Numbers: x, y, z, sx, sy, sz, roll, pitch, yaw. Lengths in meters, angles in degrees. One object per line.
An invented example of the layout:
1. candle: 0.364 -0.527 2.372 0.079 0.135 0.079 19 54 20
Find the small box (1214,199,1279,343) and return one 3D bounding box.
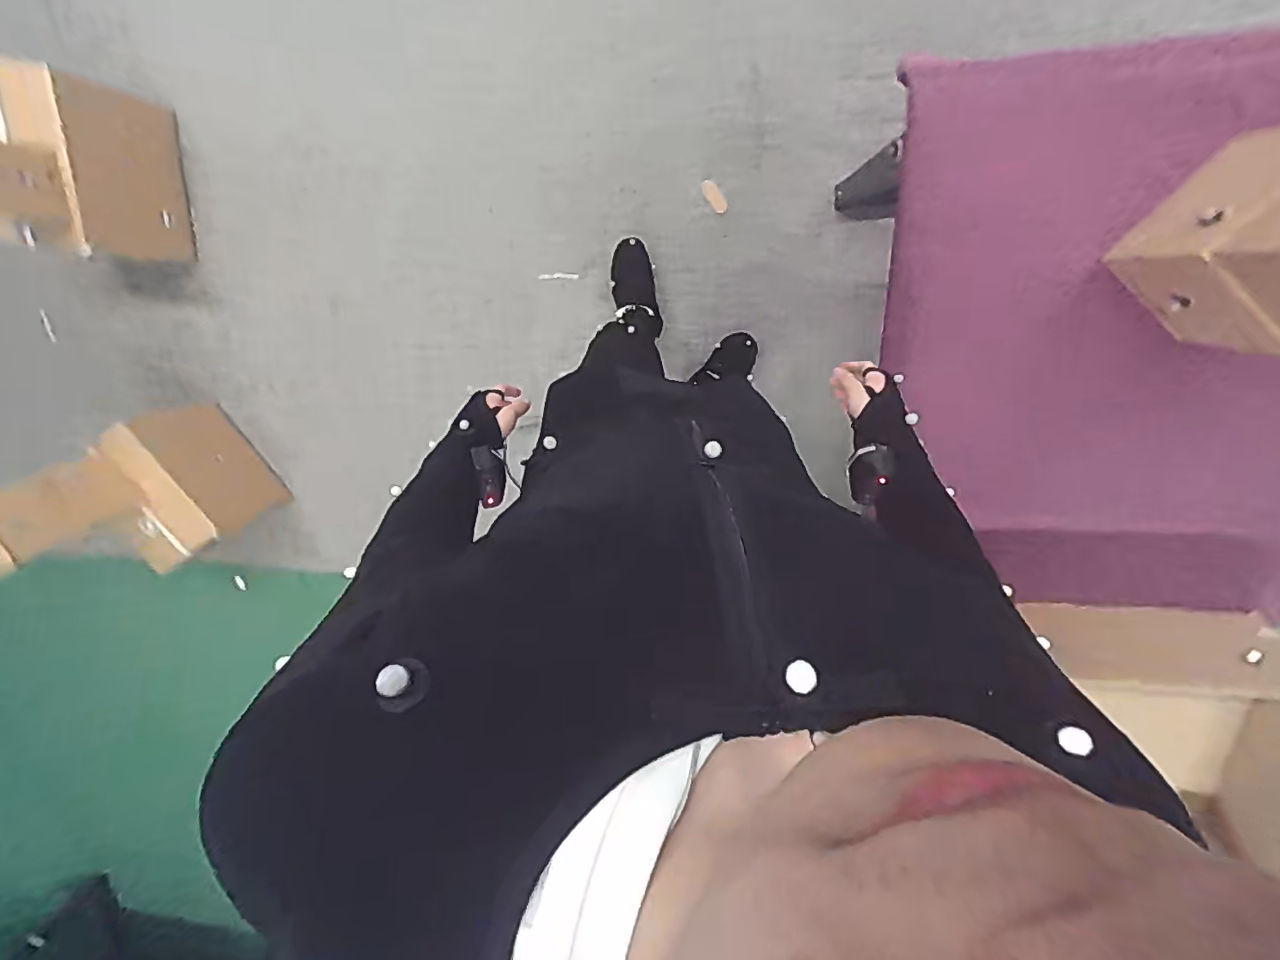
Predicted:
1. small box: 0.695 -0.209 0.478 0.179 0.176 0.168 40 112 -8

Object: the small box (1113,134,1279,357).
1. small box: 0.712 -0.271 0.627 0.168 0.176 0.179 40 111 -8

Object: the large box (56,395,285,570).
1. large box: -1.472 -0.001 1.731 0.320 0.320 0.408 -29 105 18

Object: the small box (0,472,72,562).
1. small box: -1.601 0.105 1.347 0.168 0.176 0.179 -22 105 15

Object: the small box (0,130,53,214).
1. small box: -1.487 -0.699 1.210 0.179 0.176 0.168 7 111 3
